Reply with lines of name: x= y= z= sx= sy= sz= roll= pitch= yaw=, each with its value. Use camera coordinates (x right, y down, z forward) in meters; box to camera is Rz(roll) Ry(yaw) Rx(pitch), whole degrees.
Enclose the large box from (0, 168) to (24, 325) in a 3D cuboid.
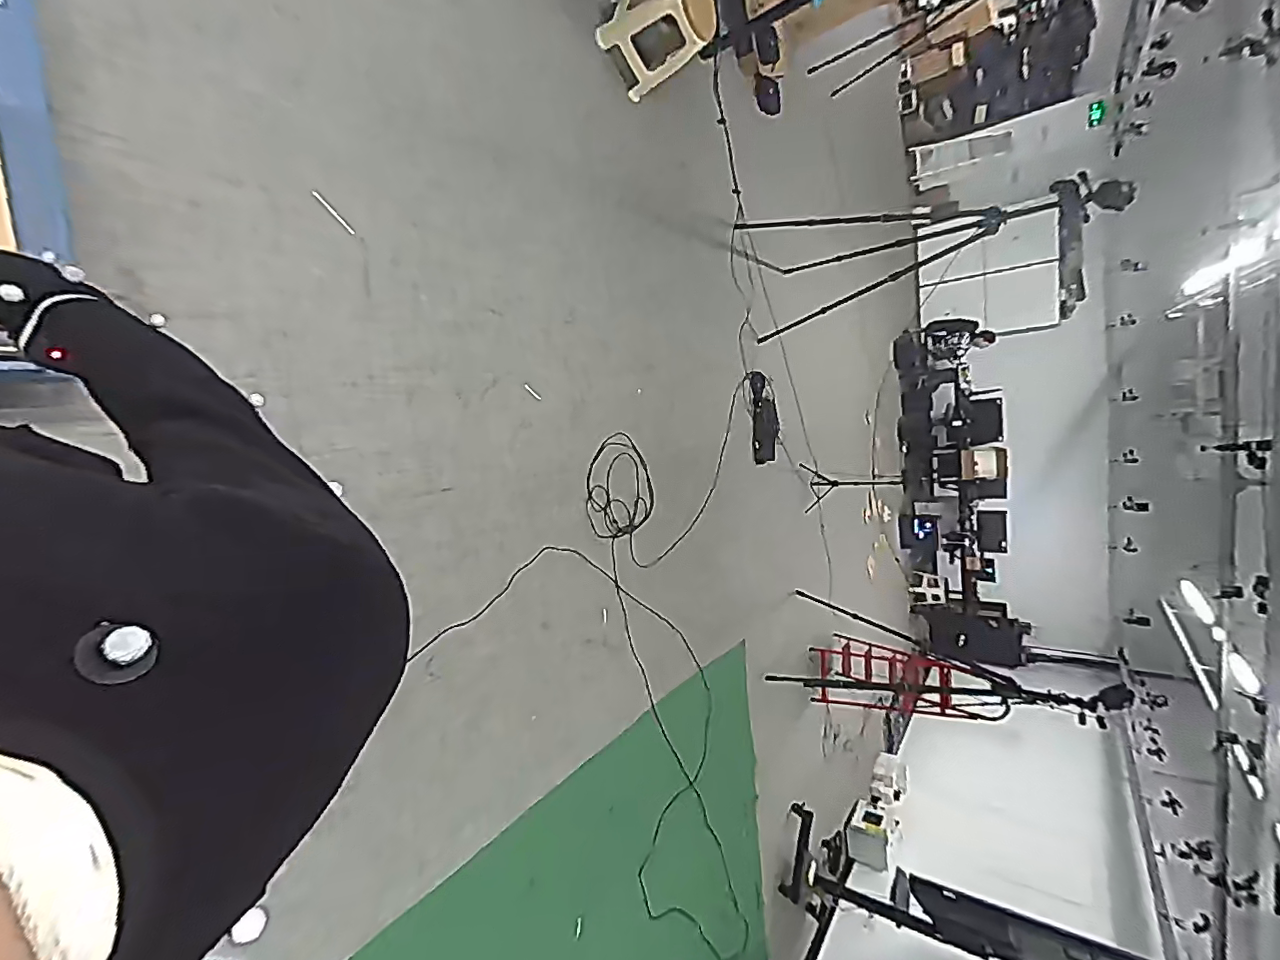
large box: x=-1.149 y=-0.456 z=0.757 sx=0.320 sy=0.320 sz=0.408 roll=-13 pitch=98 yaw=-52
